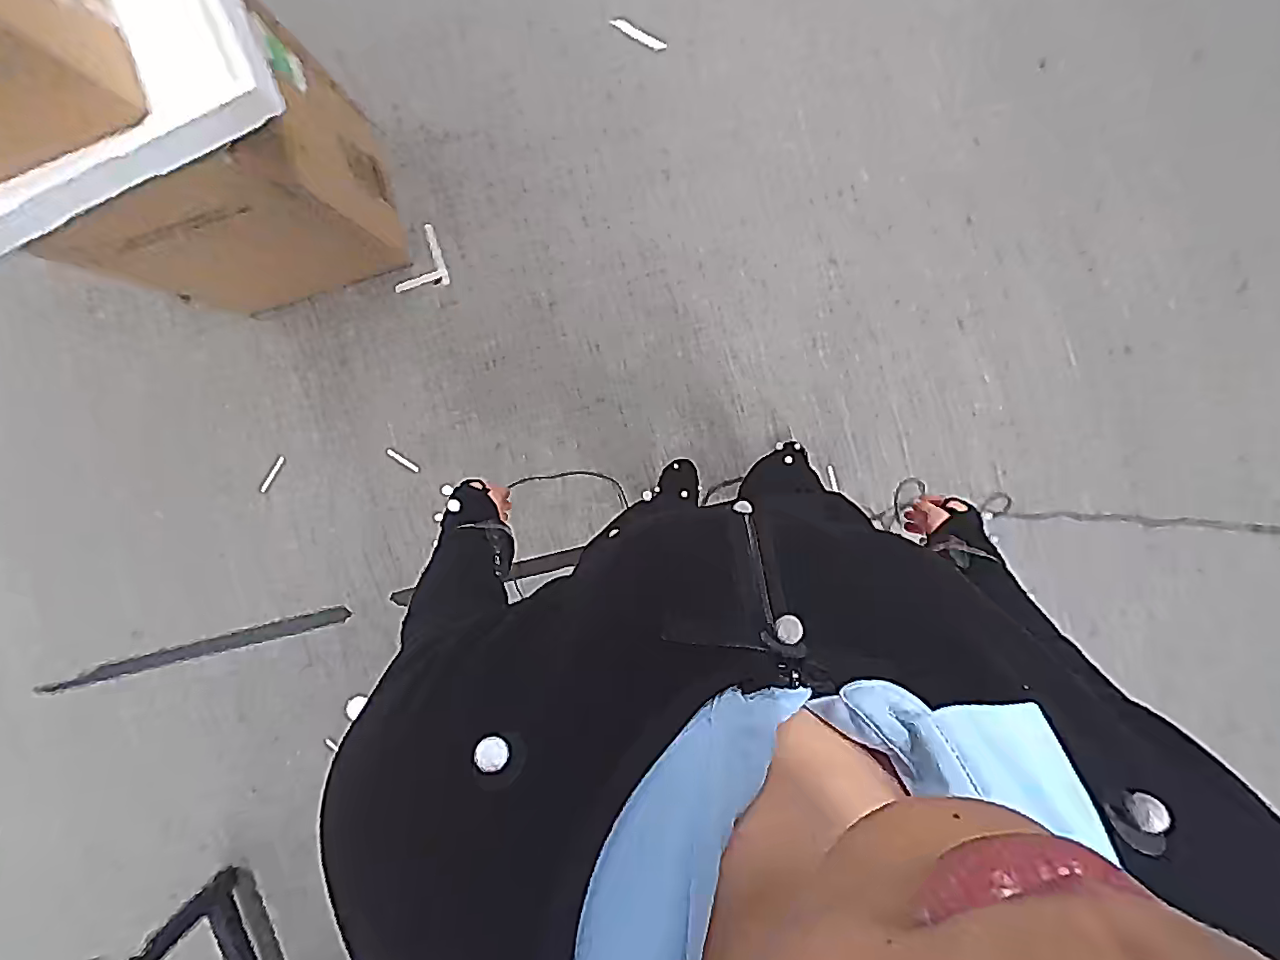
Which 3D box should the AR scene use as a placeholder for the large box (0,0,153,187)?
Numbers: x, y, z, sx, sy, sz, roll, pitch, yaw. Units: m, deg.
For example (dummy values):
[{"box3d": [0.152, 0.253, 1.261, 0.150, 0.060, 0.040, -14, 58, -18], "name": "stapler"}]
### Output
[{"box3d": [-1.011, -0.651, 0.724, 0.408, 0.320, 0.320, -19, 92, 7], "name": "large box"}]
